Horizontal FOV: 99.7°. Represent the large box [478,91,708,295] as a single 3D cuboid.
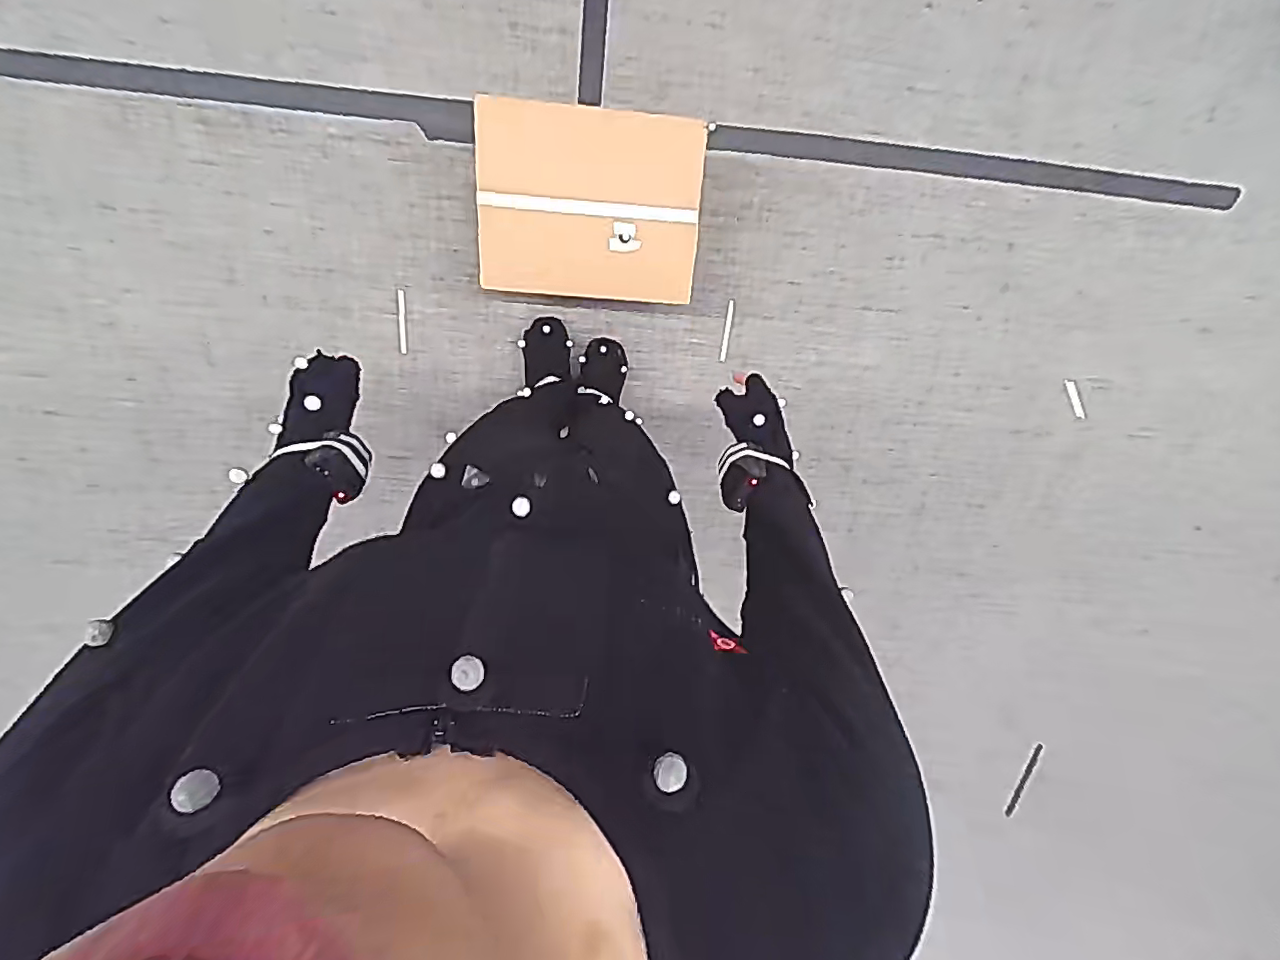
[{"bbox_3d":[-0.100,-0.566,1.123,0.408,0.320,0.320,2,113,-6],"label":"large box"}]
